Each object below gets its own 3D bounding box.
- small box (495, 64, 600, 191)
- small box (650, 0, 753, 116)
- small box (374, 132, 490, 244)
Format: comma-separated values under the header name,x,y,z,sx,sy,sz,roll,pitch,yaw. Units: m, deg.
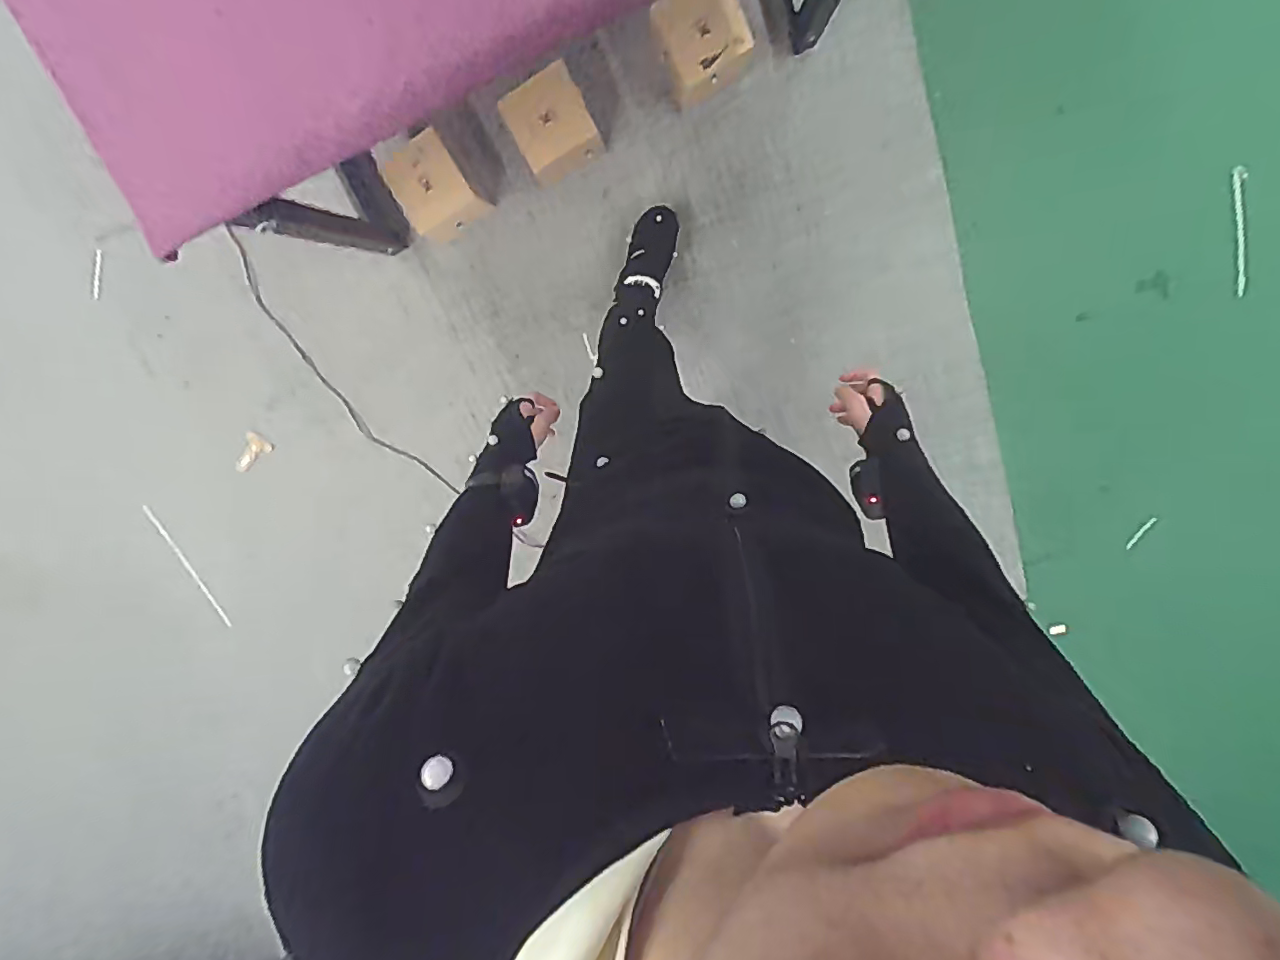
name,x,y,z,sx,sy,sz,roll,pitch,yaw
small box,-0.206,-0.819,1.276,0.179,0.176,0.168,-27,103,11
small box,0.131,-0.970,1.214,0.168,0.176,0.179,-27,104,10
small box,-0.496,-0.700,1.323,0.168,0.176,0.179,-29,104,10
